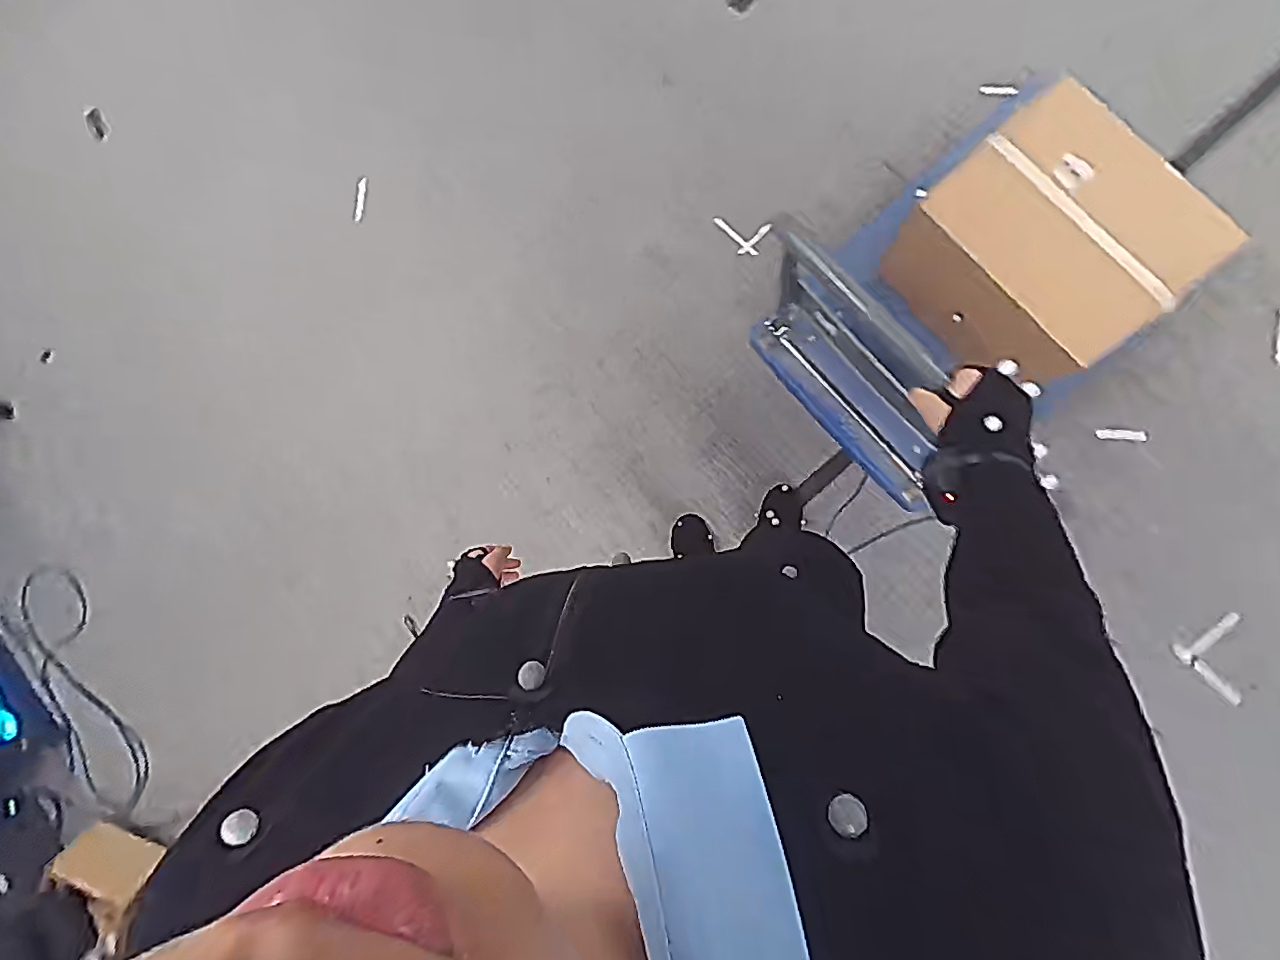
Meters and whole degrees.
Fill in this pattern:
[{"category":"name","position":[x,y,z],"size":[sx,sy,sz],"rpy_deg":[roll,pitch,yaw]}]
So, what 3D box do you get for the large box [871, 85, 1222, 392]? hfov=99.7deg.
[{"category":"large box","position":[0.748,-0.443,1.080],"size":[0.320,0.320,0.408],"rpy_deg":[-41,81,7]}]
